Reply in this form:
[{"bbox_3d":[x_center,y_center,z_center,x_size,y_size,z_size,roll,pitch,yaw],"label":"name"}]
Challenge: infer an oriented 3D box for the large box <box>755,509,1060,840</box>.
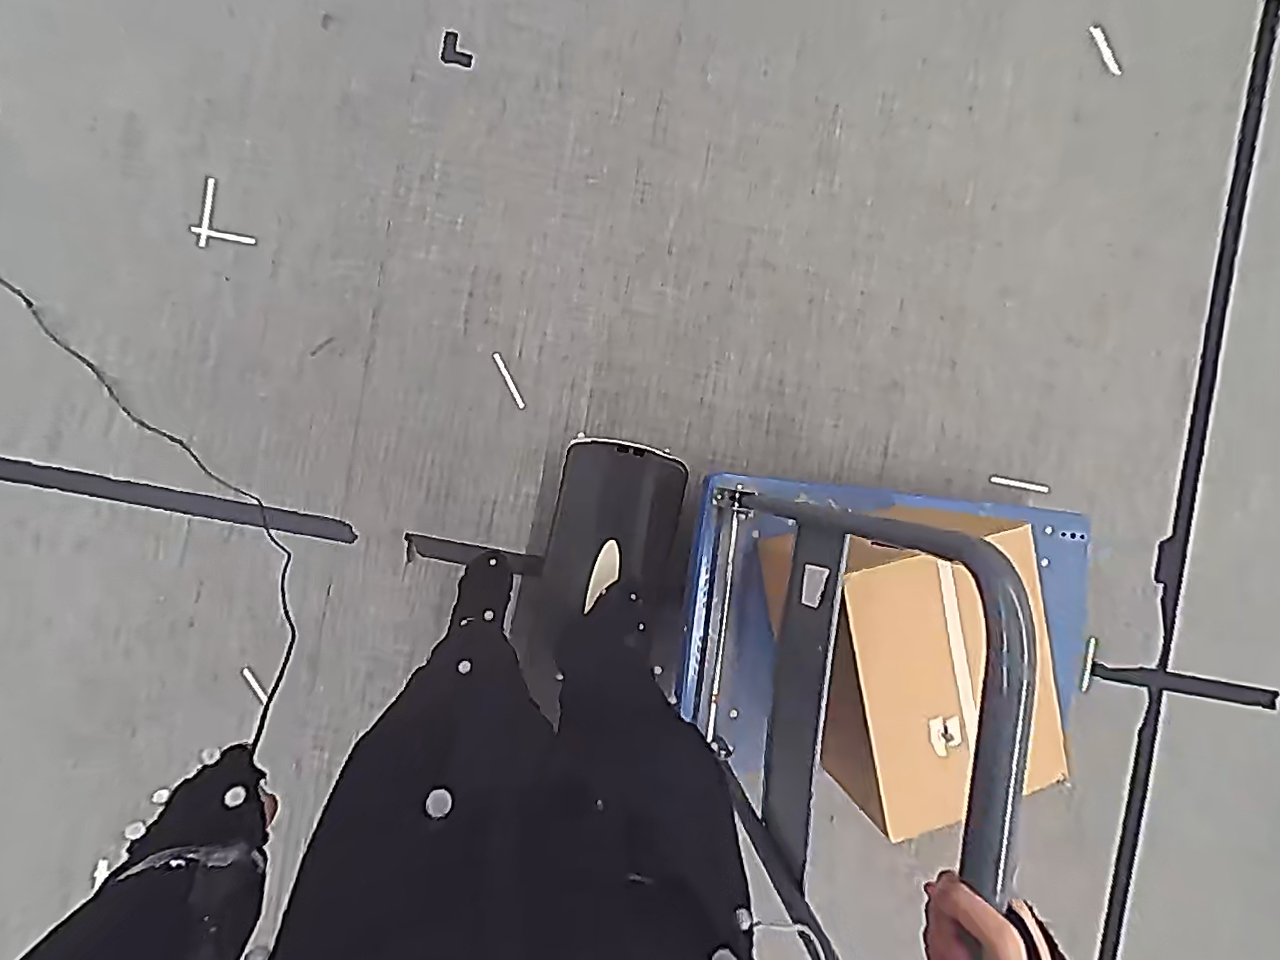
[{"bbox_3d":[0.433,0.290,0.938,0.320,0.320,0.408,-13,95,-9],"label":"large box"}]
